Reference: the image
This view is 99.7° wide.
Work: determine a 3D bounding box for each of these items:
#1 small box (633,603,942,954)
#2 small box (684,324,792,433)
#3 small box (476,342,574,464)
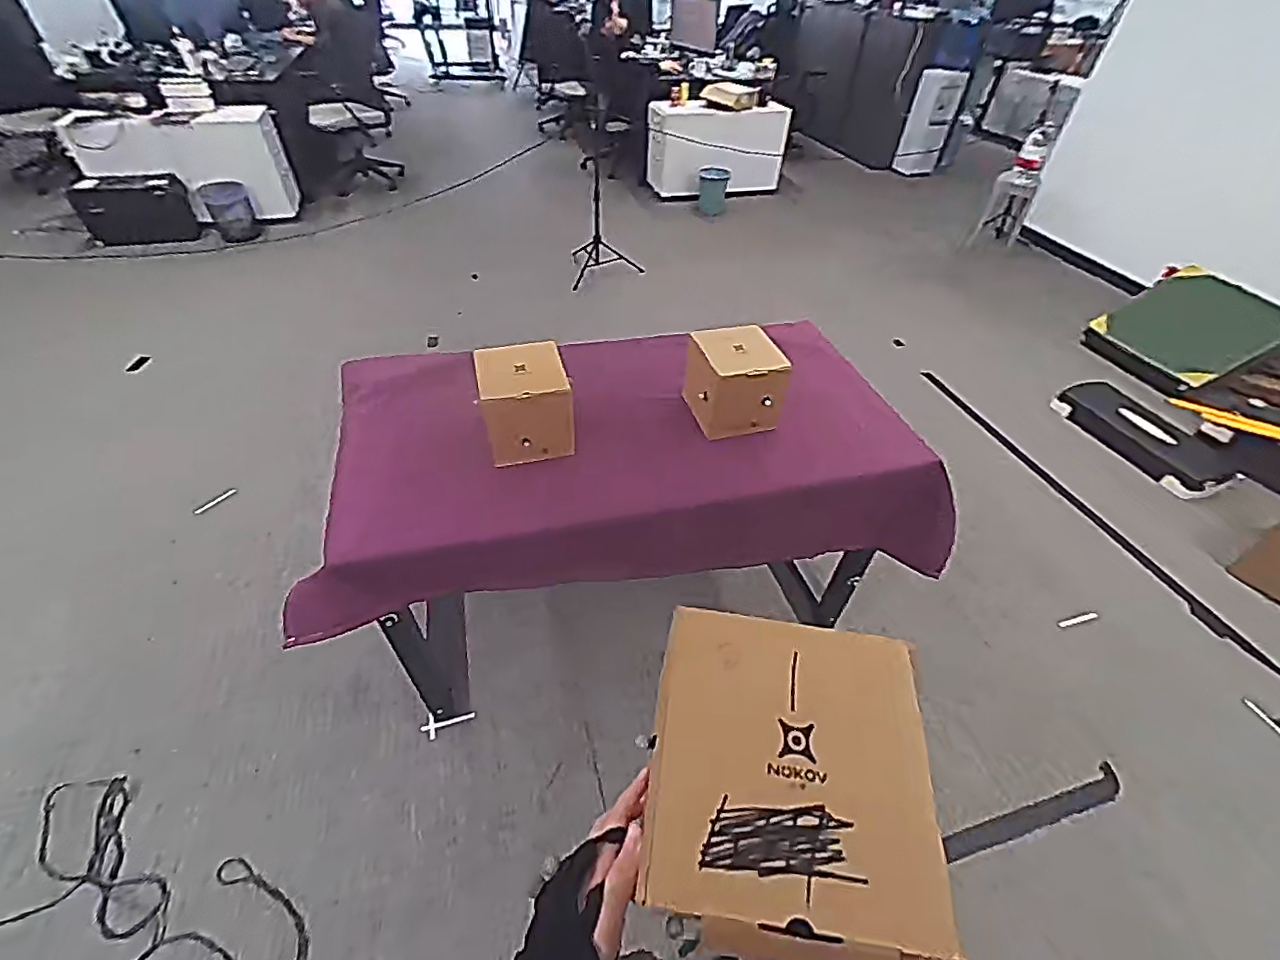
[{"bbox_3d":[0.087,0.216,0.400,0.168,0.176,0.179,8,52,2],"label":"small box"},{"bbox_3d":[0.205,-0.216,1.183,0.168,0.176,0.179,-10,46,-13],"label":"small box"},{"bbox_3d":[-0.233,-0.157,1.100,0.168,0.176,0.179,-10,48,-14],"label":"small box"}]
